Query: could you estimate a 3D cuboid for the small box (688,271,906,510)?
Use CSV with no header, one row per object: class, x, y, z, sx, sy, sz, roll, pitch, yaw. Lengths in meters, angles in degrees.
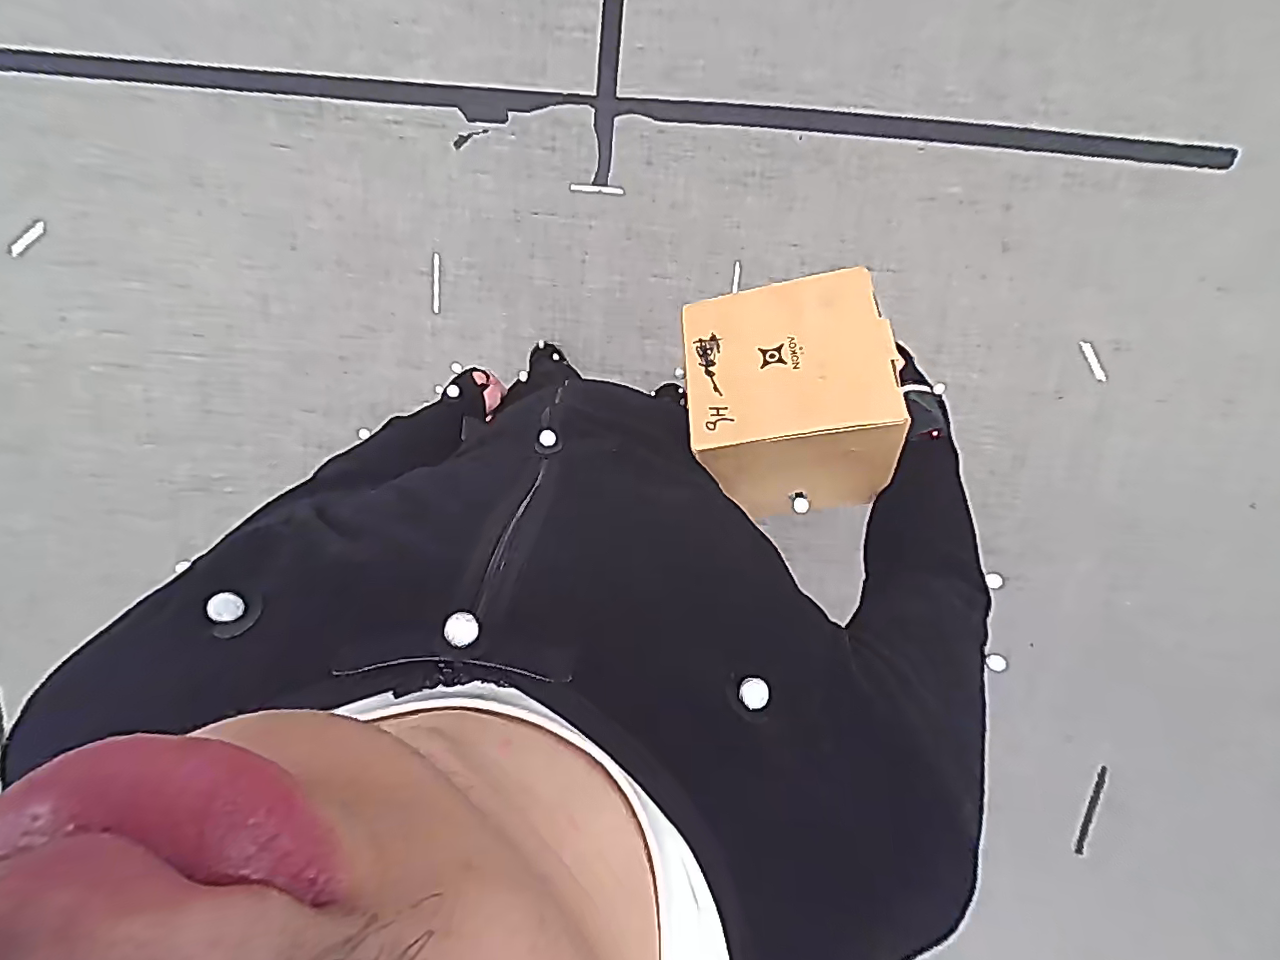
small box,0.152,-0.080,0.560,0.179,0.176,0.168,-7,63,13
